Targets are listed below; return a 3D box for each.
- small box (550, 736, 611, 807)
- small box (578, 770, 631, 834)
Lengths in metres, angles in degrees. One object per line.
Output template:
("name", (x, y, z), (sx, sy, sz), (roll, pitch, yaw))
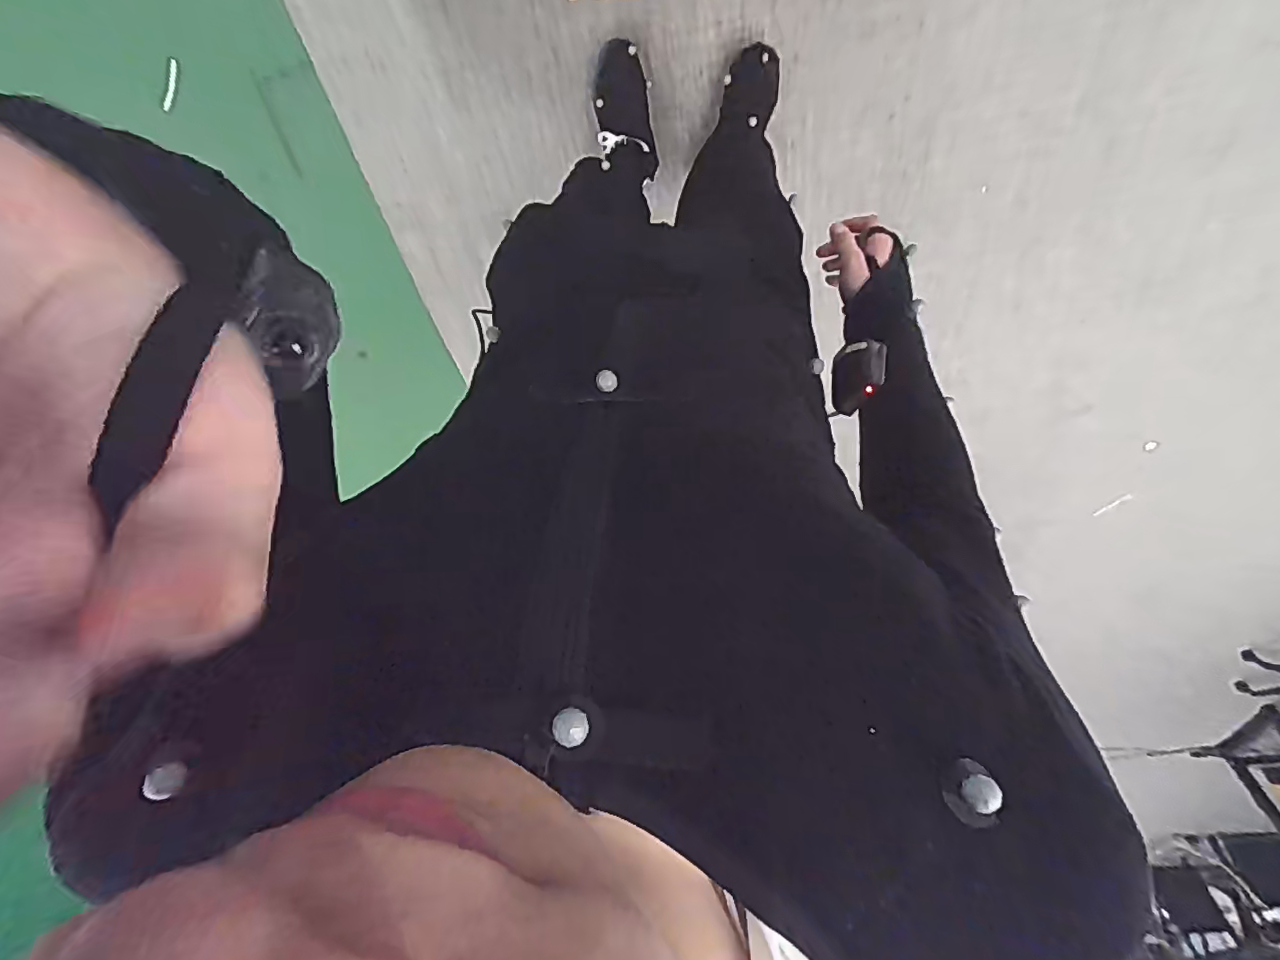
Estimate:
("small box", (-0.194, 0.989, 1.836), (0.168, 0.176, 0.179), (-9, 133, 7))
("small box", (-0.131, 1.214, 2.048), (0.168, 0.176, 0.179), (-7, 130, 7))
